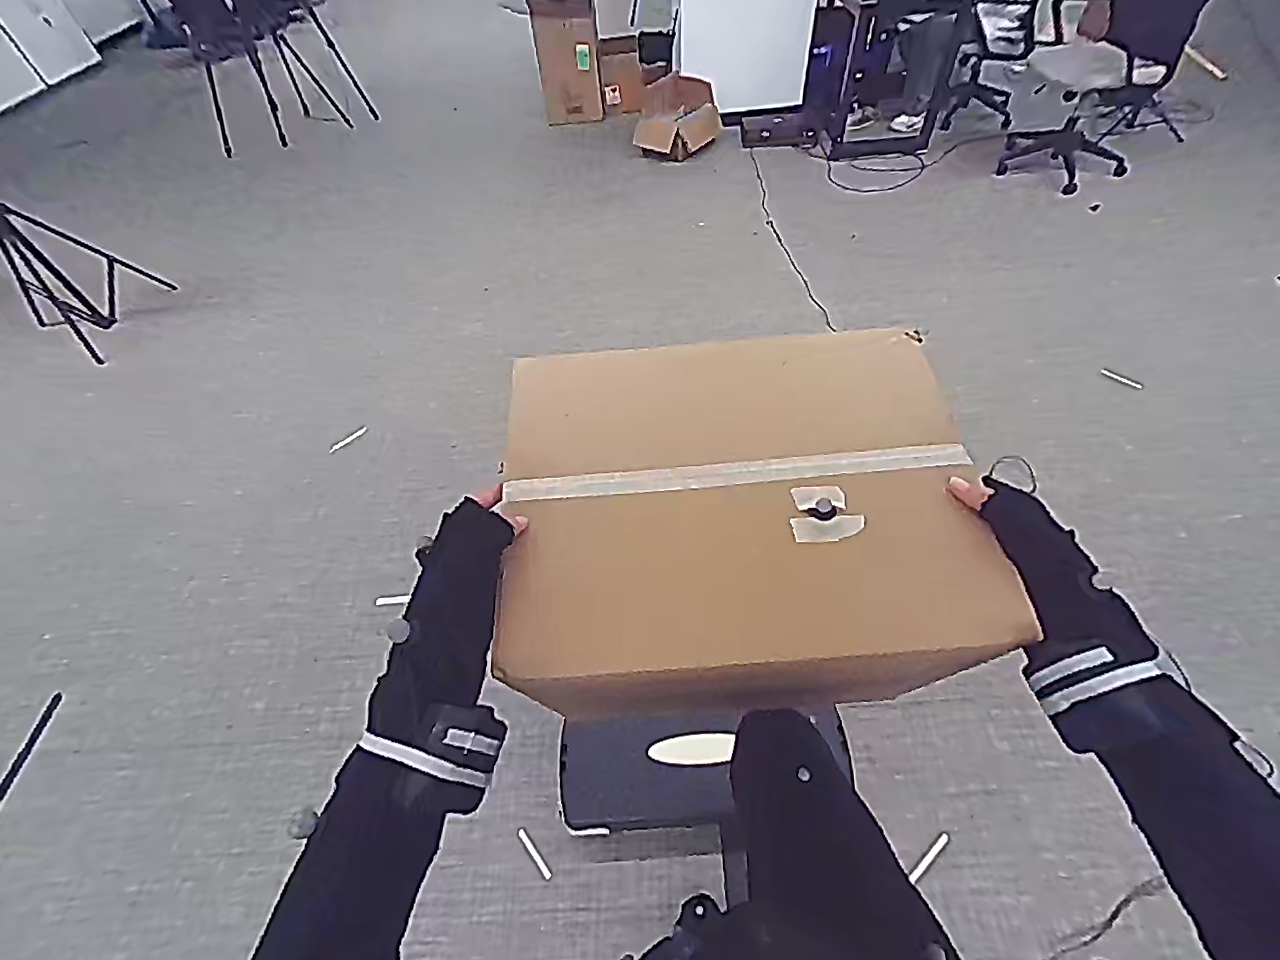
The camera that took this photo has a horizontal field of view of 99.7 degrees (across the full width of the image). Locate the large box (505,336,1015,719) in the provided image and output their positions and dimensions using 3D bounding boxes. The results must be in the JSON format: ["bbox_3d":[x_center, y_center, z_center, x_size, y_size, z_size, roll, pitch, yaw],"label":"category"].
[{"bbox_3d":[0.088,0.074,0.616,0.408,0.320,0.320,-5,61,1],"label":"large box"}]
